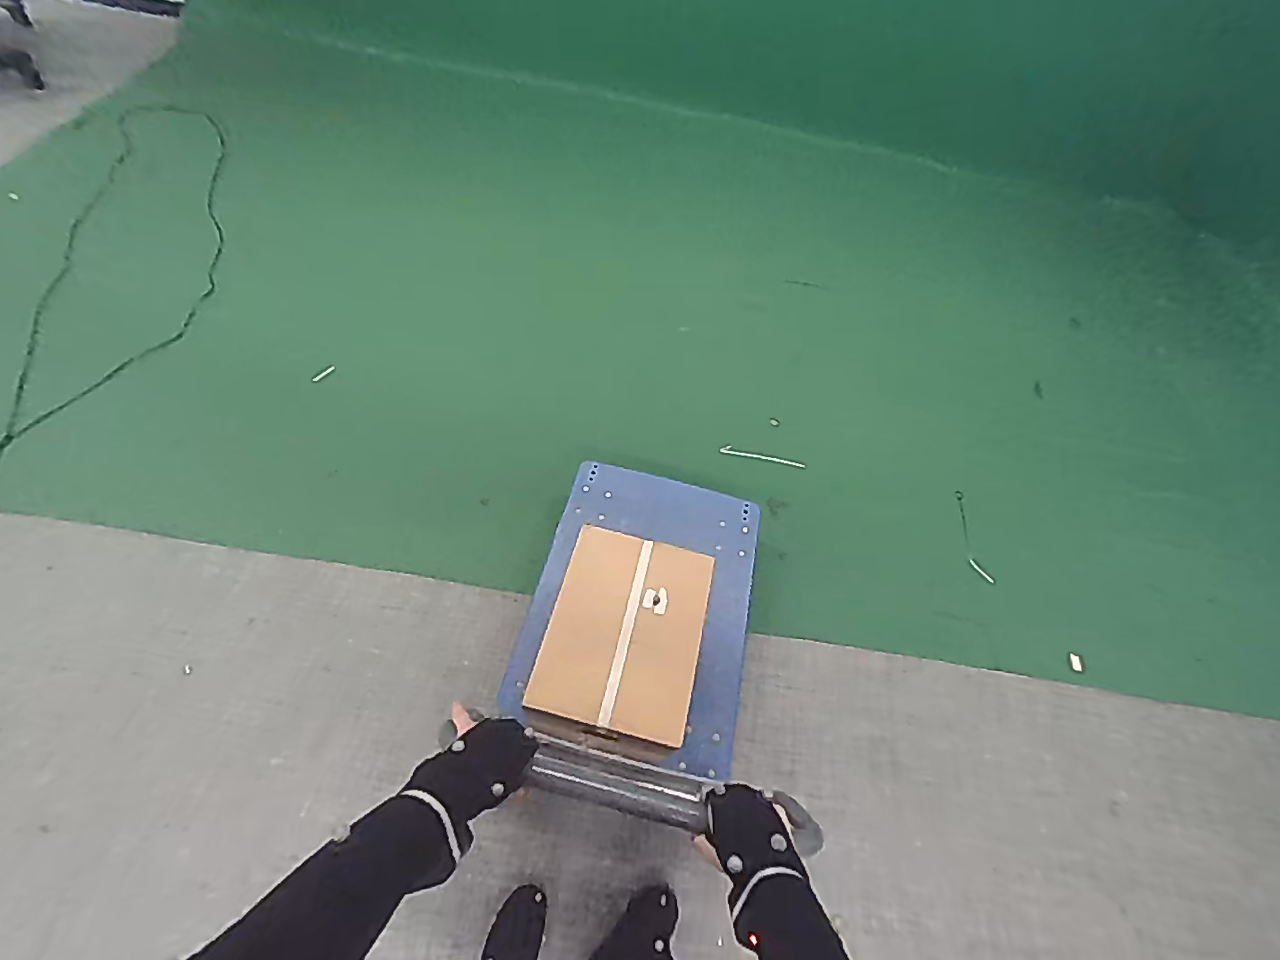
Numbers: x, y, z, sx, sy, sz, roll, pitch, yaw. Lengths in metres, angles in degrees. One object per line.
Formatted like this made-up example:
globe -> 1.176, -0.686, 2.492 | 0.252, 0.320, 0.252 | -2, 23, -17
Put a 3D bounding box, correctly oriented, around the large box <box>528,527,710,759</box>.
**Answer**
large box -> -0.043, 0.384, 1.259 | 0.320, 0.320, 0.408 | 15, 56, 1
